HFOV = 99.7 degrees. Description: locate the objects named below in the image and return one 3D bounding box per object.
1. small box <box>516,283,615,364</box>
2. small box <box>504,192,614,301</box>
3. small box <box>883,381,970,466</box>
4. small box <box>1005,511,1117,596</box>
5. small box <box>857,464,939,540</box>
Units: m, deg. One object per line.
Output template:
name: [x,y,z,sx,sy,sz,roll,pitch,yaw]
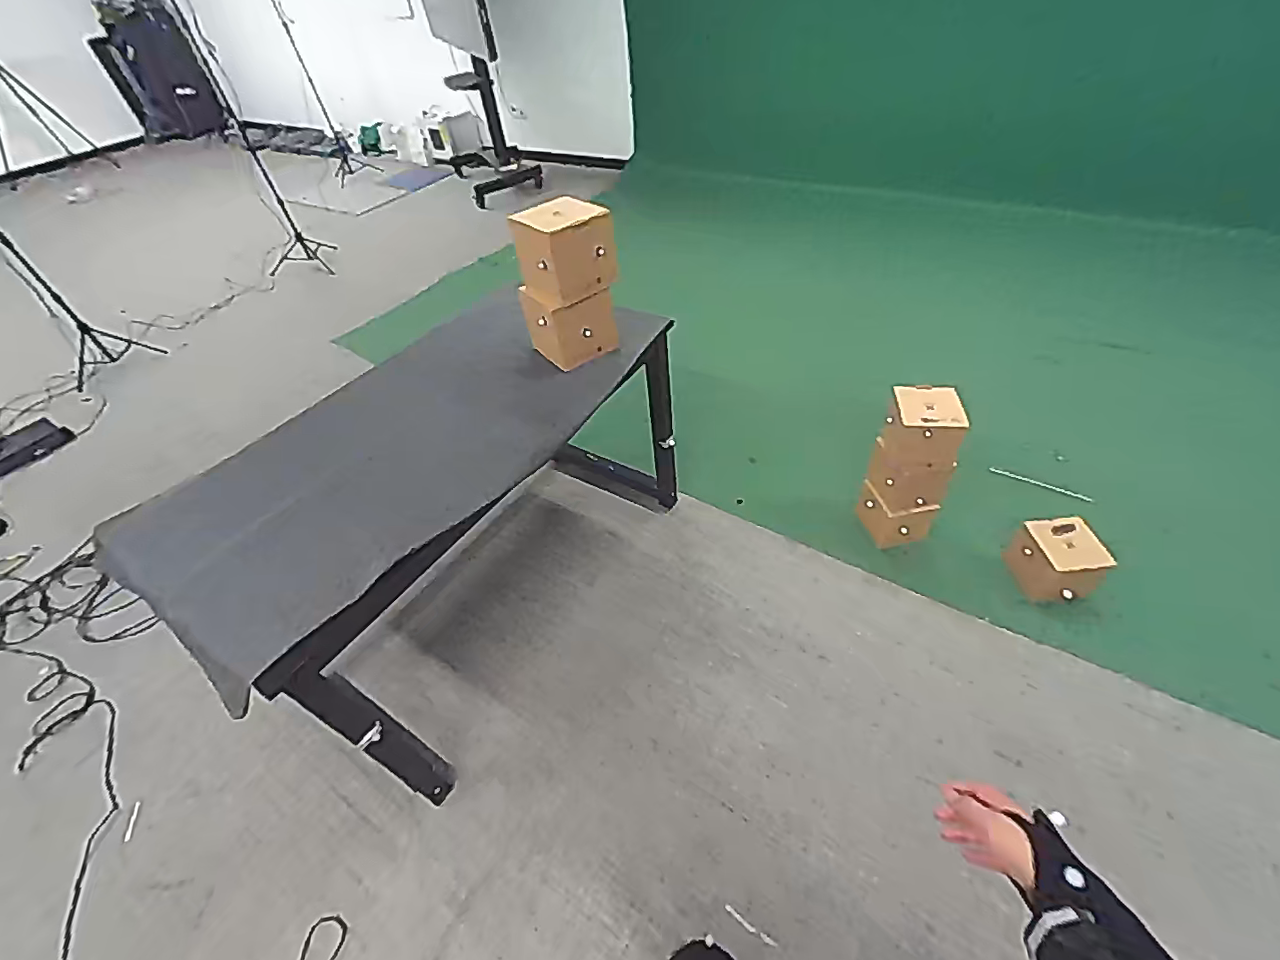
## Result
small box: [-0.179,-0.409,1.344,0.168,0.176,0.179,-31,48,-21]
small box: [-0.178,-0.530,1.234,0.168,0.176,0.179,-35,49,-25]
small box: [0.807,-0.163,1.544,0.168,0.176,0.179,2,47,10]
small box: [1.217,0.215,1.581,0.168,0.176,0.179,-7,47,1]
small box: [0.835,0.078,1.766,0.168,0.176,0.179,-12,45,-3]
